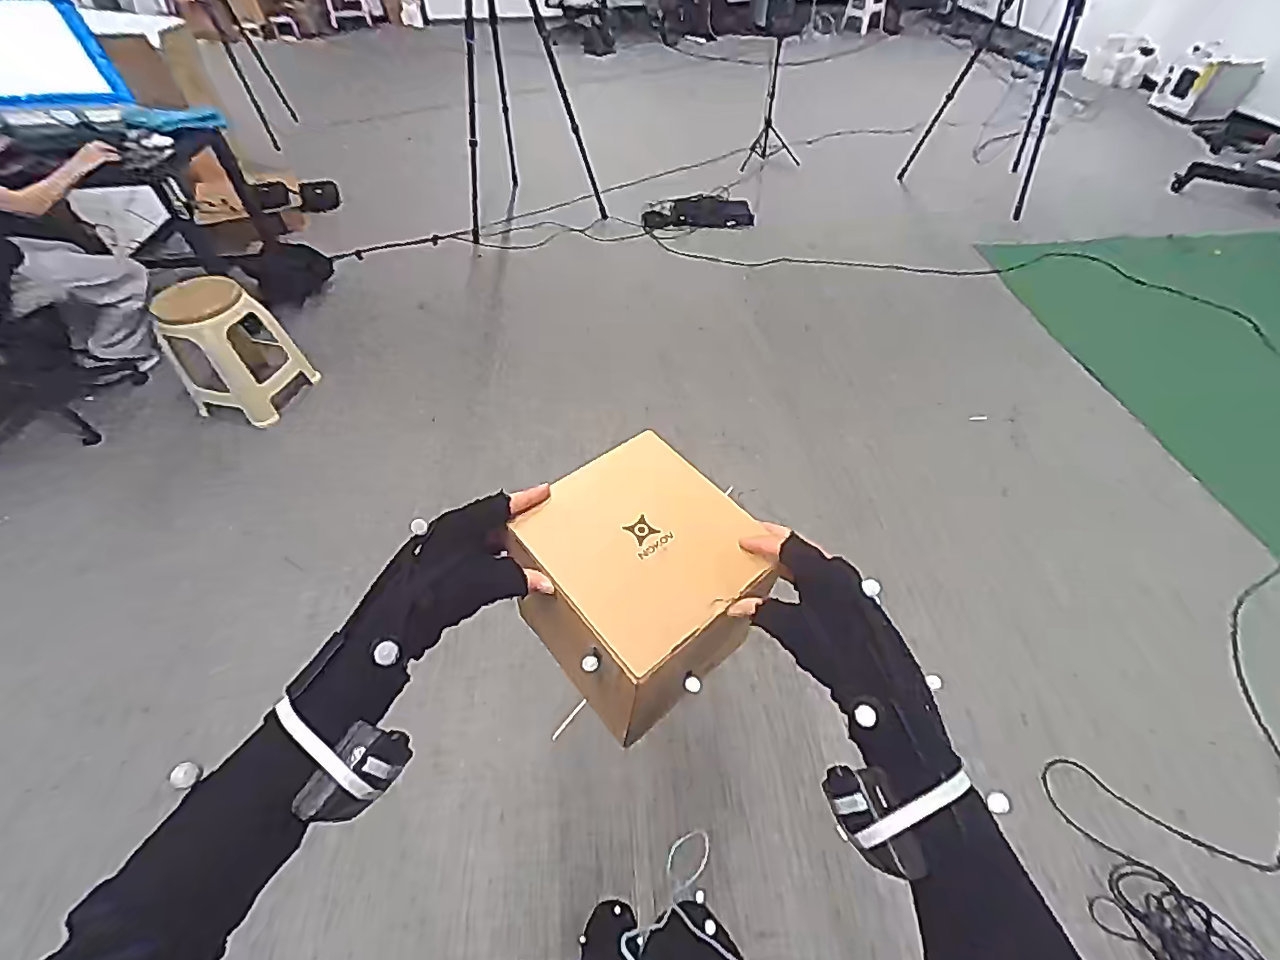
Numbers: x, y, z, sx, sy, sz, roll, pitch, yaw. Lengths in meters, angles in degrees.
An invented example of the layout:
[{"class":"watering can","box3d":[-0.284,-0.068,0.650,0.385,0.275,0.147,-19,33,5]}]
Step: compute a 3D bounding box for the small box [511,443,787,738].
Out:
[{"class":"small box","box3d":[-0.001,0.103,0.507,0.168,0.176,0.179,-31,59,-28]}]
